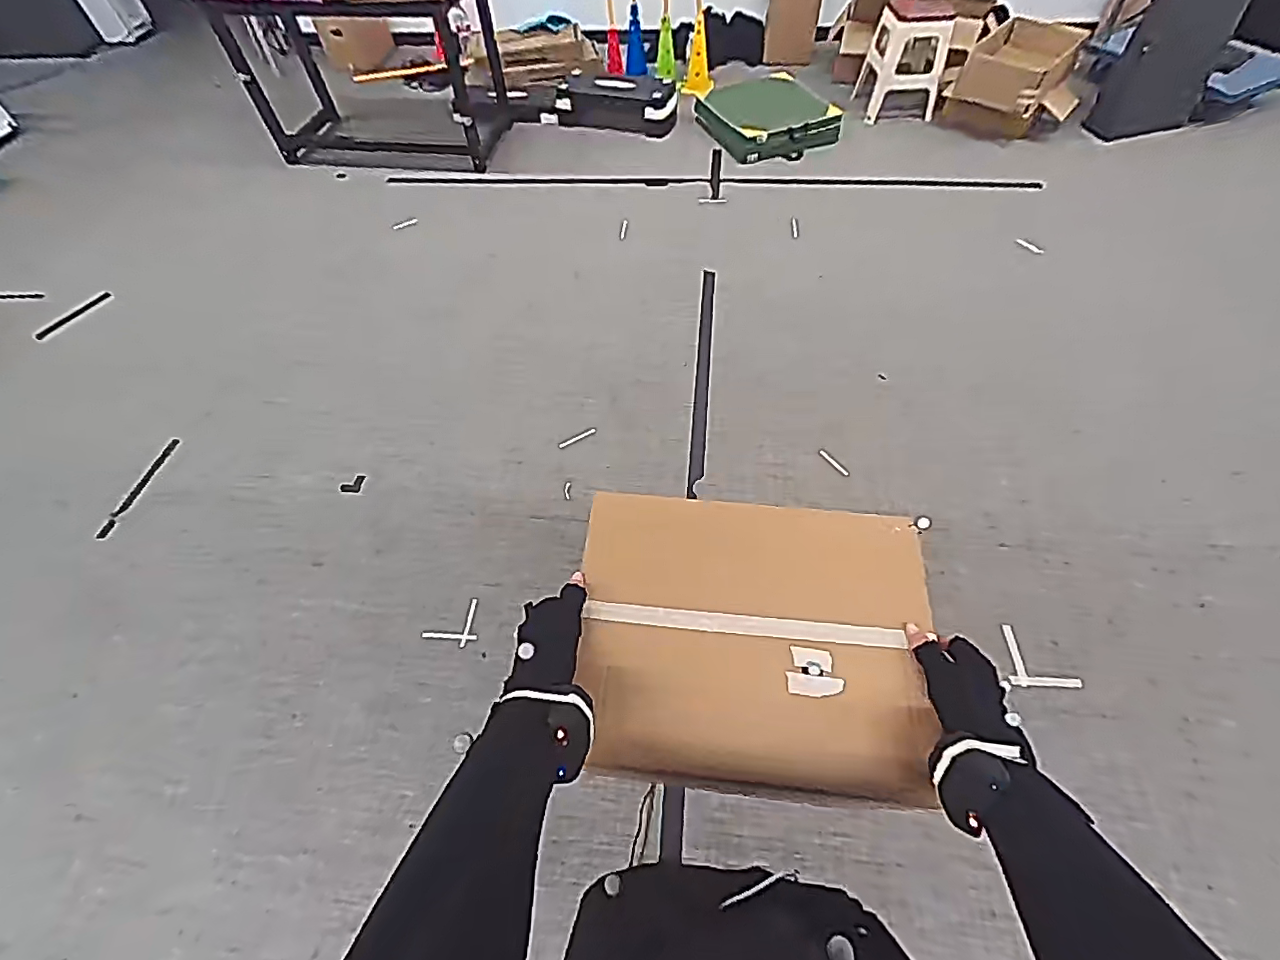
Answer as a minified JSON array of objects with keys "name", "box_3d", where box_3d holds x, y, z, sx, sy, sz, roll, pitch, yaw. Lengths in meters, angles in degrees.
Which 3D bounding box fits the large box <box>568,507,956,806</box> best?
[{"name":"large box","box_3d":[0.136,0.255,0.754,0.408,0.320,0.320,5,60,4]}]
